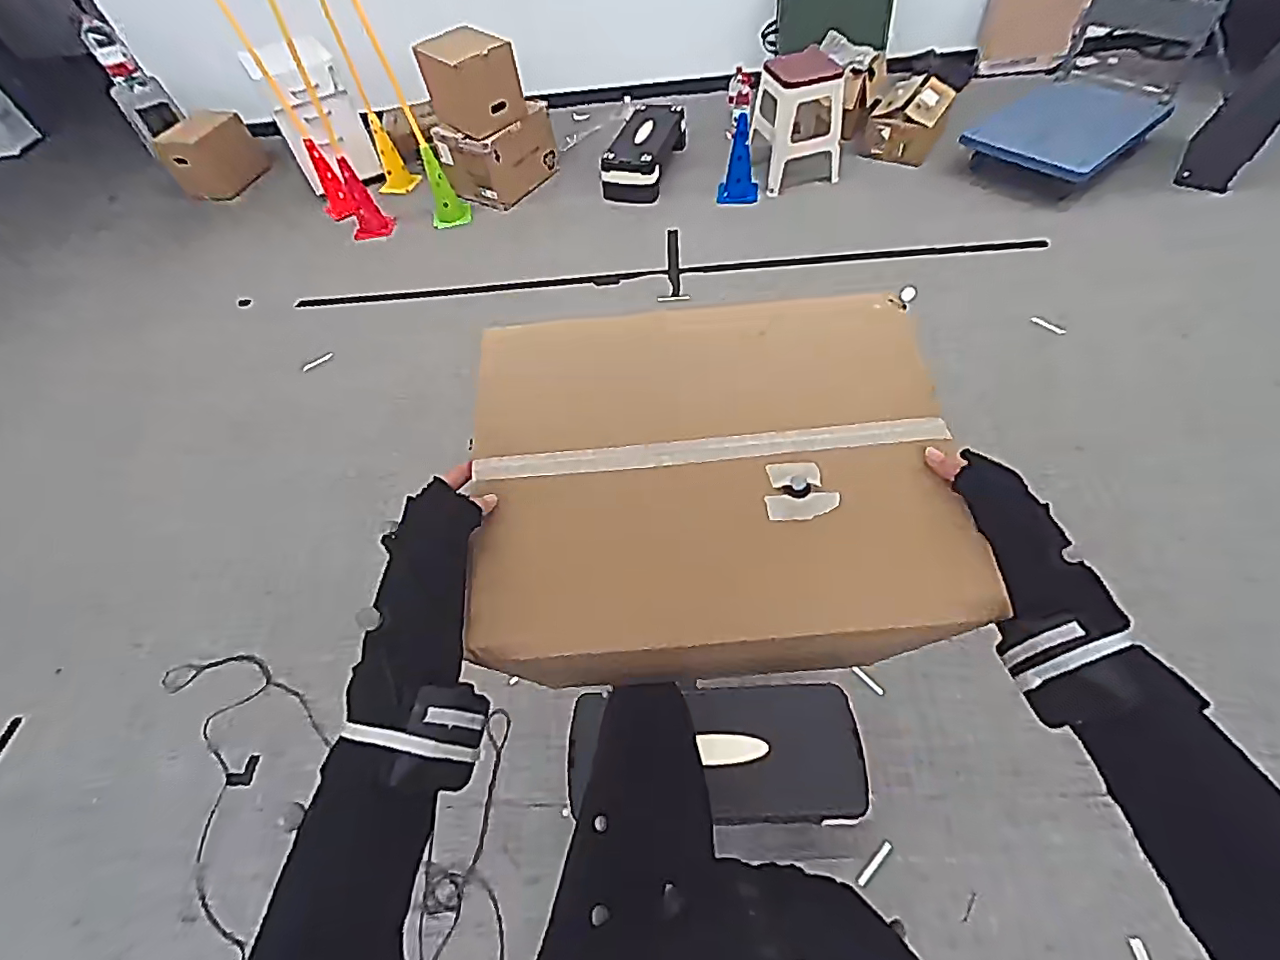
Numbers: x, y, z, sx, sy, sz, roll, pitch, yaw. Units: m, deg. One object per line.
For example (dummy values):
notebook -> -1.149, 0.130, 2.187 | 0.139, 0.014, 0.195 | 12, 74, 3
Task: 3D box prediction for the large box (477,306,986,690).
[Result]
large box -> 0.064, 0.045, 0.612 | 0.408, 0.320, 0.320 | -5, 65, 1
